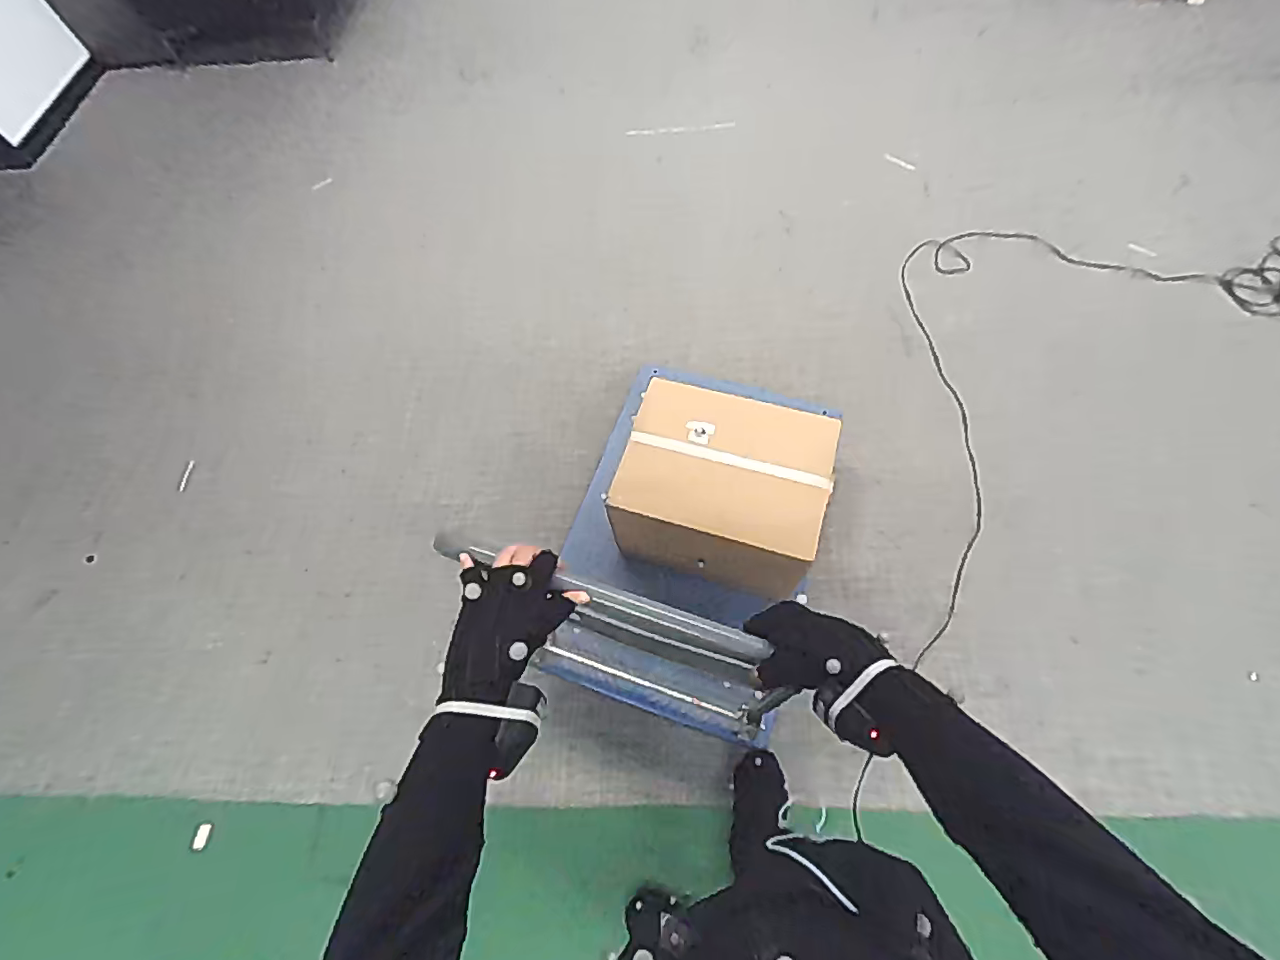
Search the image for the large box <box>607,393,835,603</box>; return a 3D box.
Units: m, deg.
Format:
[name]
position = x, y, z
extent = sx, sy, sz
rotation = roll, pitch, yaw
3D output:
[large box]
position = 0.182, 0.049, 1.214
extent = 0.408, 0.320, 0.320
rotation = 14, 65, 13
